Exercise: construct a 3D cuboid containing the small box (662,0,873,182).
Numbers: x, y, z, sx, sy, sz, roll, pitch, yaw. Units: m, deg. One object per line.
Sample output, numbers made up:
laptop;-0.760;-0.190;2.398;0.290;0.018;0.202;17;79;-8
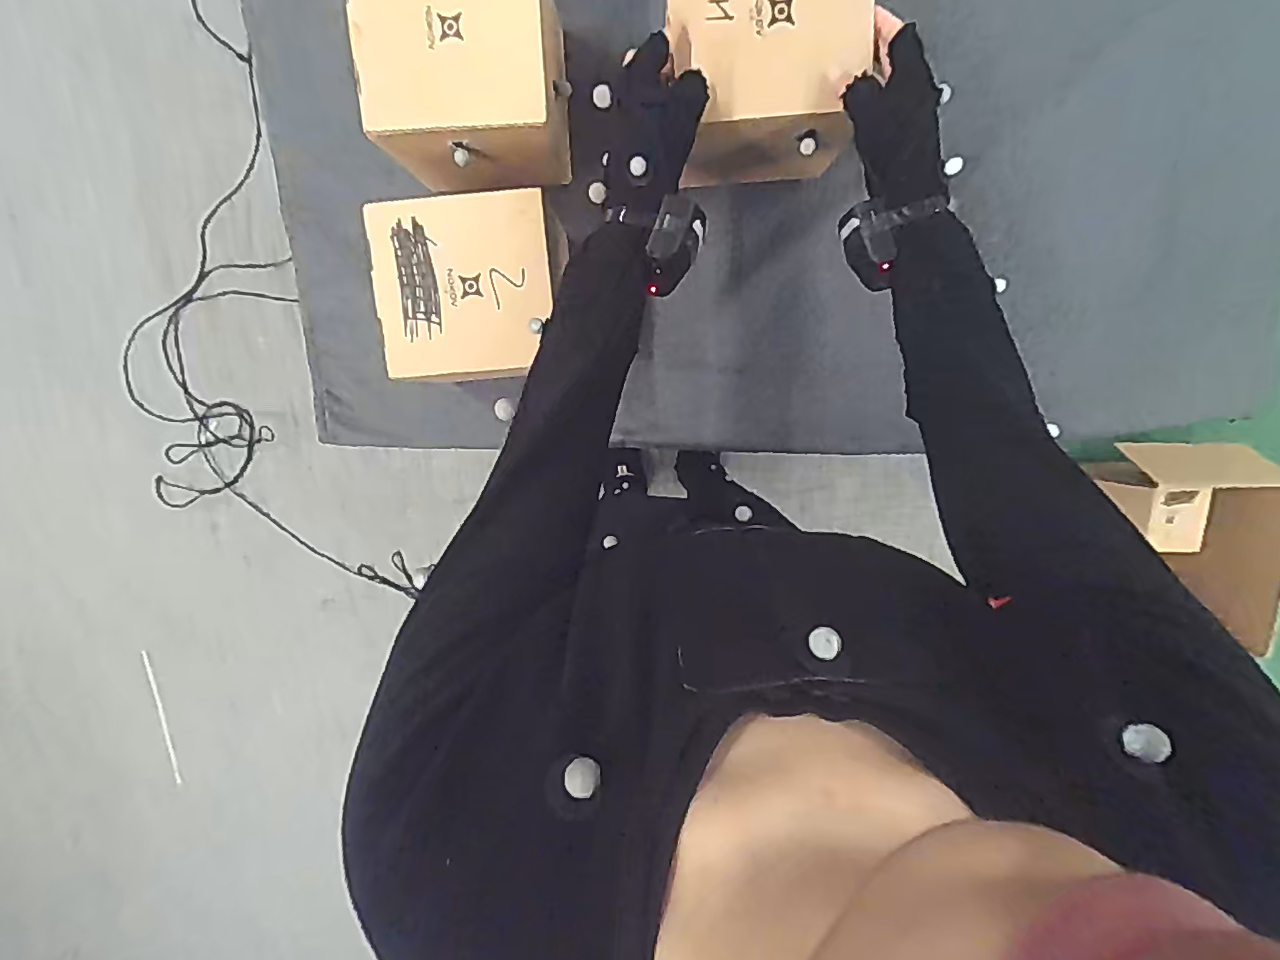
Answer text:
small box;0.112;-0.415;0.534;0.179;0.176;0.168;-2;100;4
